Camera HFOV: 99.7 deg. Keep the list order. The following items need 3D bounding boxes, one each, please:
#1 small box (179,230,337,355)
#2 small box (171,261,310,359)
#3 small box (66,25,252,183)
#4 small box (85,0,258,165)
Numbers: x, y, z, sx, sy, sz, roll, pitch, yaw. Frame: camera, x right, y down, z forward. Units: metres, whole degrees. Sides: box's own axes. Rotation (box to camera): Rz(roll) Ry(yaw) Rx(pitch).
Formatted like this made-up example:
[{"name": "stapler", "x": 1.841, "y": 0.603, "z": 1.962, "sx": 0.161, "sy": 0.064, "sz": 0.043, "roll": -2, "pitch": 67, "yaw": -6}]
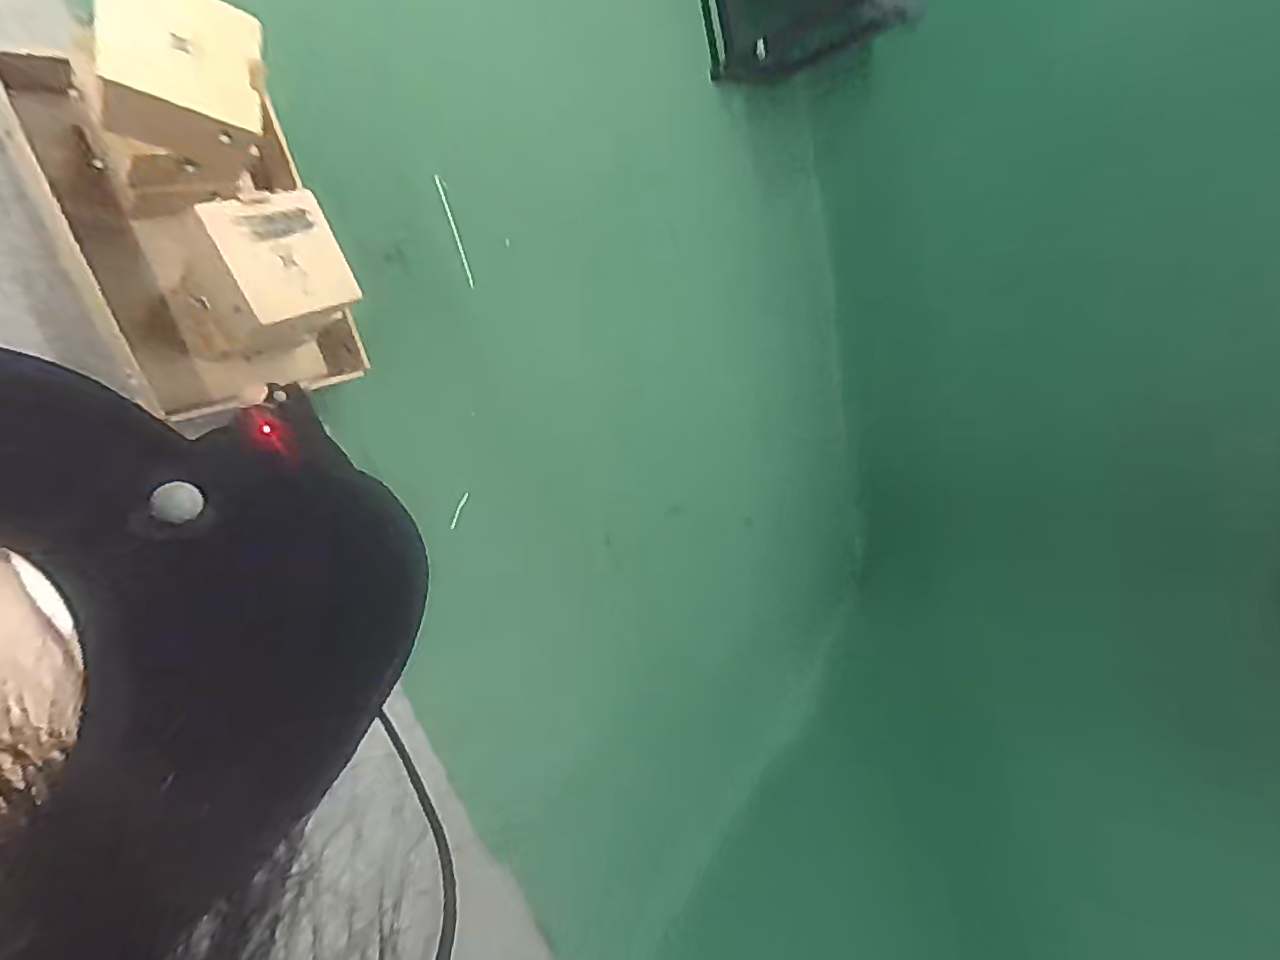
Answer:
[{"name": "small box", "x": -0.714, "y": -0.346, "z": 1.010, "sx": 0.179, "sy": 0.176, "sz": 0.168, "roll": -36, "pitch": 116, "yaw": -37}, {"name": "small box", "x": -0.830, "y": -0.353, "z": 1.124, "sx": 0.179, "sy": 0.176, "sz": 0.168, "roll": -25, "pitch": 110, "yaw": -43}, {"name": "small box", "x": -0.794, "y": -0.606, "z": 0.897, "sx": 0.179, "sy": 0.176, "sz": 0.168, "roll": -31, "pitch": 116, "yaw": -42}, {"name": "small box", "x": -0.679, "y": -0.591, "z": 0.783, "sx": 0.179, "sy": 0.176, "sz": 0.168, "roll": -1, "pitch": 95, "yaw": -48}]
